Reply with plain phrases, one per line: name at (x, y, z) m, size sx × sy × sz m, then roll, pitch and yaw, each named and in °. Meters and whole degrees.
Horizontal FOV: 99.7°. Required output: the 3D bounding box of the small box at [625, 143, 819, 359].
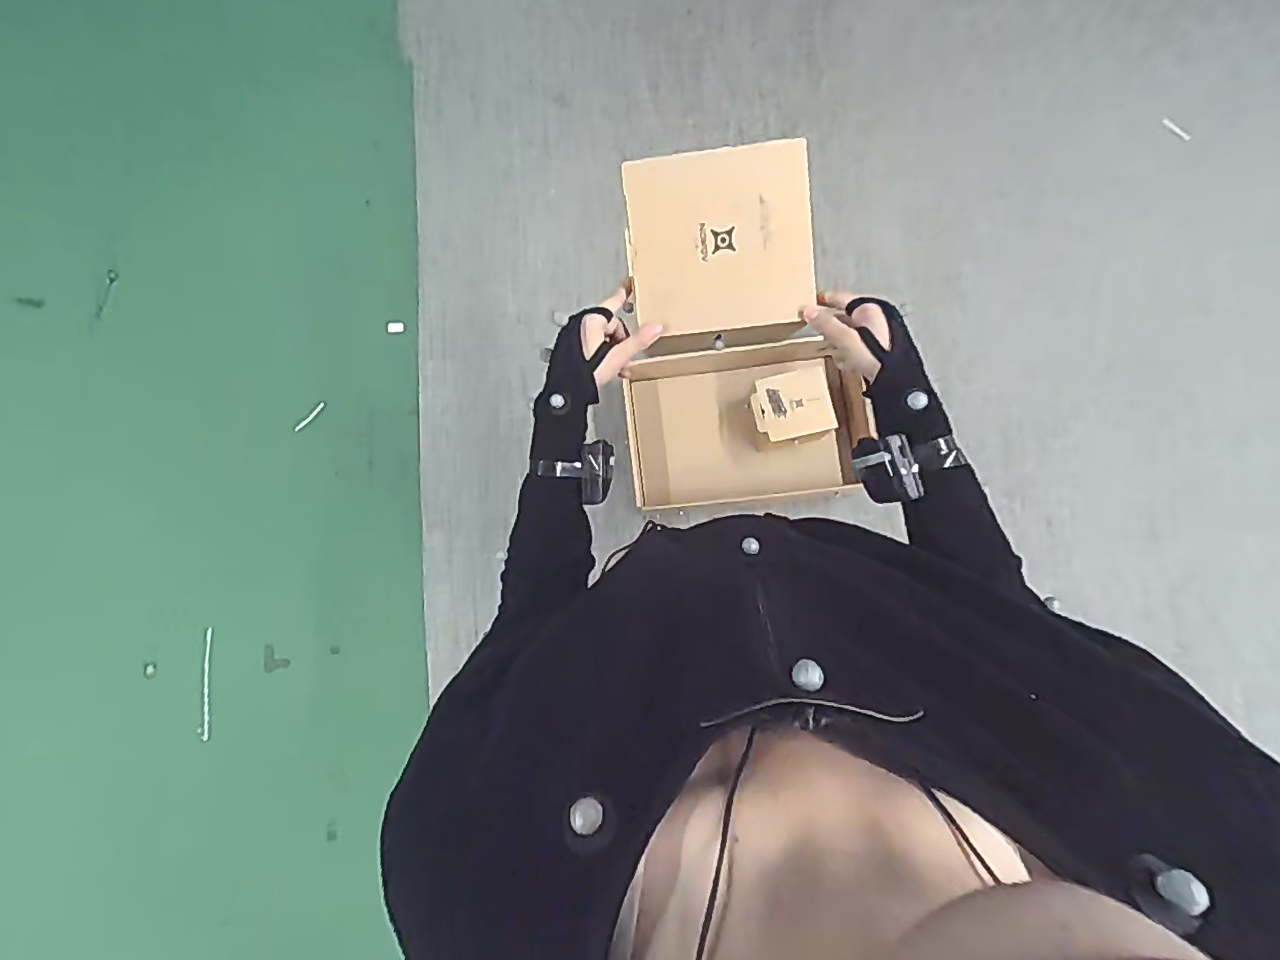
small box at (0.085, -0.233, 0.595) m, size 0.179 × 0.176 × 0.168 m, roll -5°, pitch 95°, yaw 5°

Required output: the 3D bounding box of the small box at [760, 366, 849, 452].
small box at (0.419, -0.179, 1.416) m, size 0.179 × 0.176 × 0.168 m, roll -13°, pitch 83°, yaw 3°
